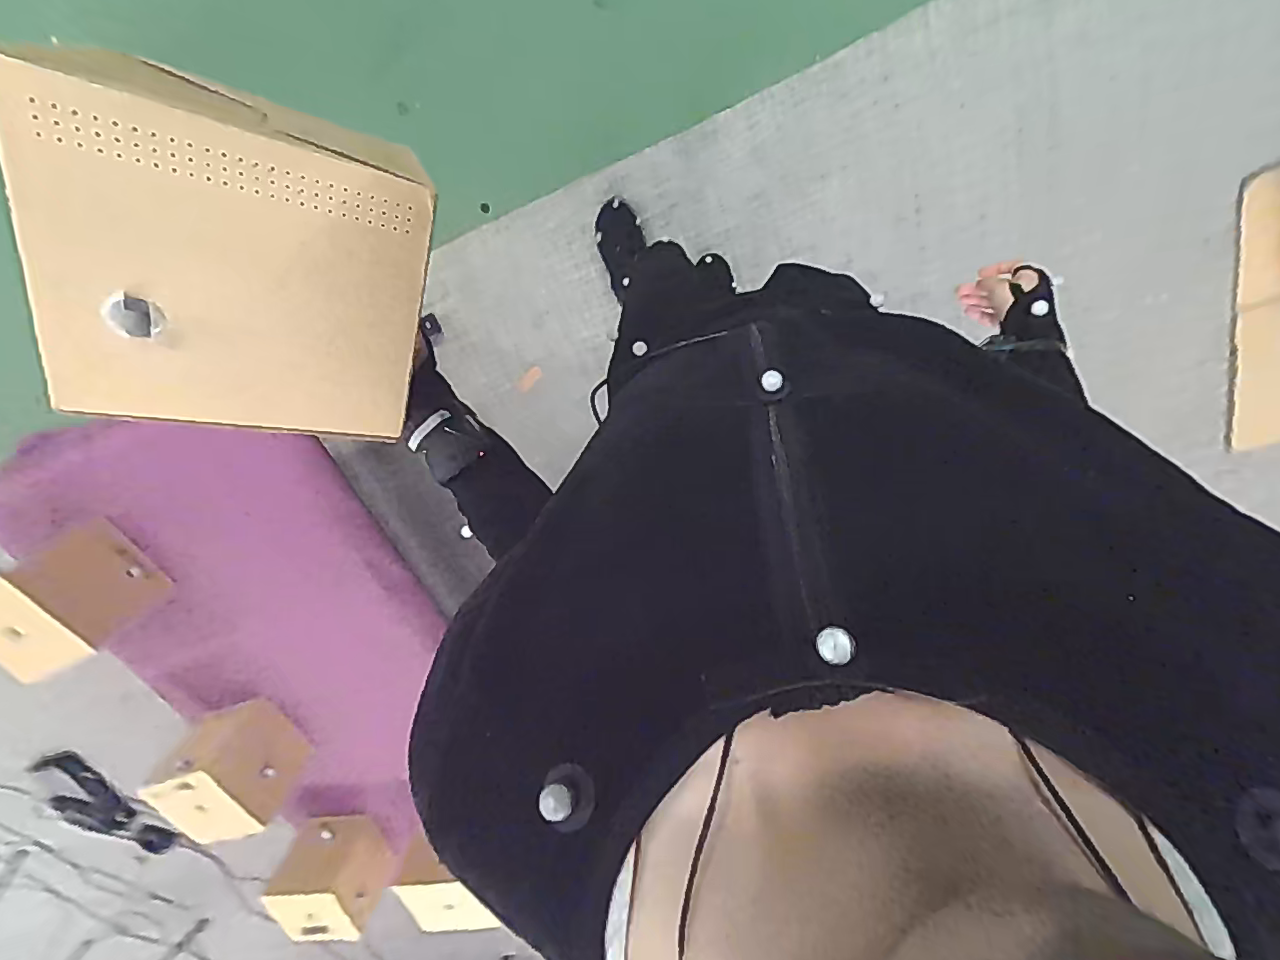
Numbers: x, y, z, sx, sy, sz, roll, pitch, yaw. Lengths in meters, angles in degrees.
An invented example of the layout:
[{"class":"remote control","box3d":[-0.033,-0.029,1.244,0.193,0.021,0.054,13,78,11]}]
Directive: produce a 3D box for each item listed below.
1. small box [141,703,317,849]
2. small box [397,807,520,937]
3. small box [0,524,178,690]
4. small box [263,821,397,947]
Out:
[{"class":"small box","box3d":[-0.781,0.571,1.052,0.168,0.176,0.179,-20,114,11]},{"class":"small box","box3d":[-0.366,0.820,1.141,0.179,0.176,0.168,-11,114,10]},{"class":"small box","box3d":[-0.925,0.201,0.879,0.179,0.176,0.168,-23,114,13]},{"class":"small box","box3d":[-0.672,0.893,1.200,0.168,0.176,0.179,-8,114,7]}]
